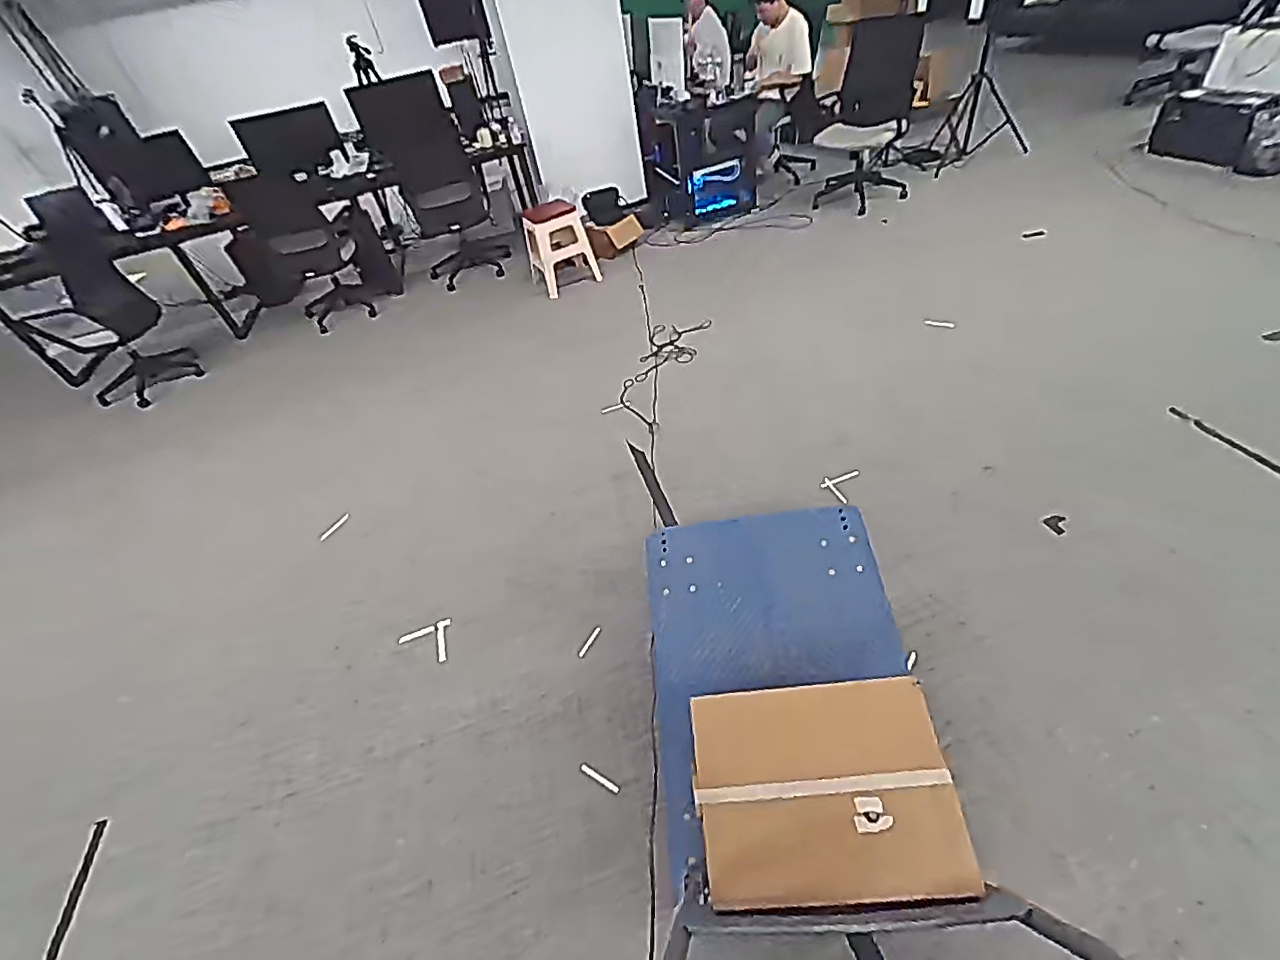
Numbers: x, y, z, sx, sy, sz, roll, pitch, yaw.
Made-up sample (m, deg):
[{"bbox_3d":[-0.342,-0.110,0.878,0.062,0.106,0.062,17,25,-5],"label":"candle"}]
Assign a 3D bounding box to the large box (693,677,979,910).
[{"bbox_3d":[0.326,0.585,1.030,0.408,0.320,0.320,-8,60,5],"label":"large box"}]
